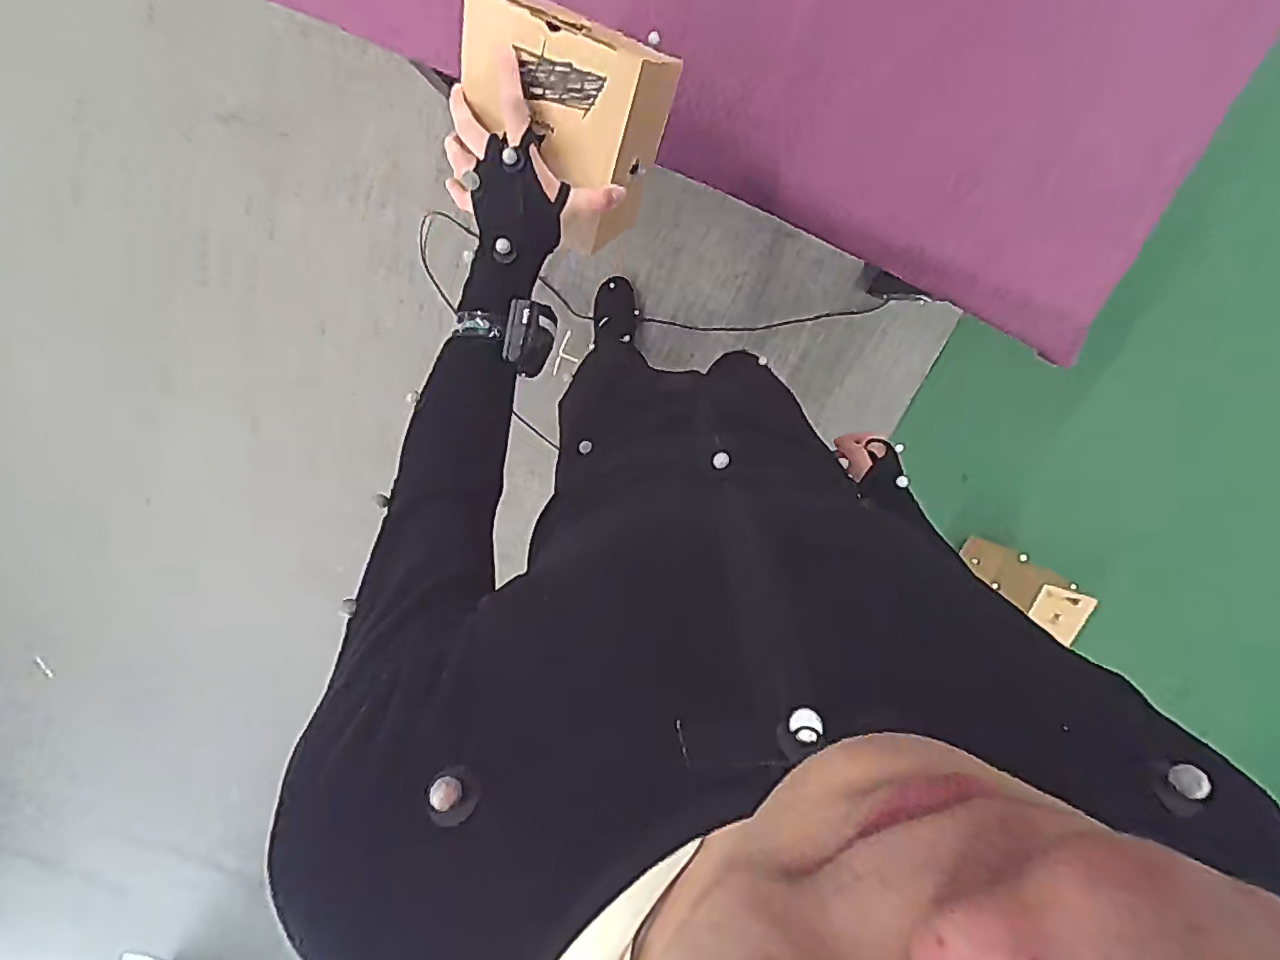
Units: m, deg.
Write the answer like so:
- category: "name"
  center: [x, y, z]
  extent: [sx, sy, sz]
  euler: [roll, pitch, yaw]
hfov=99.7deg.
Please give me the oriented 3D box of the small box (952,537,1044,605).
- category: "small box"
  center: [1.112, 0.295, 1.668]
  extent: [0.179, 0.176, 0.168]
  euler: [19, 108, -7]

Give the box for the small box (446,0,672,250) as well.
- category: "small box"
  center: [-0.078, -0.381, 0.570]
  extent: [0.168, 0.176, 0.179]
  euler: [26, 131, 0]

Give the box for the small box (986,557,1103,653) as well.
- category: "small box"
  center: [1.114, 0.345, 1.512]
  extent: [0.168, 0.176, 0.179]
  euler: [17, 109, -6]
